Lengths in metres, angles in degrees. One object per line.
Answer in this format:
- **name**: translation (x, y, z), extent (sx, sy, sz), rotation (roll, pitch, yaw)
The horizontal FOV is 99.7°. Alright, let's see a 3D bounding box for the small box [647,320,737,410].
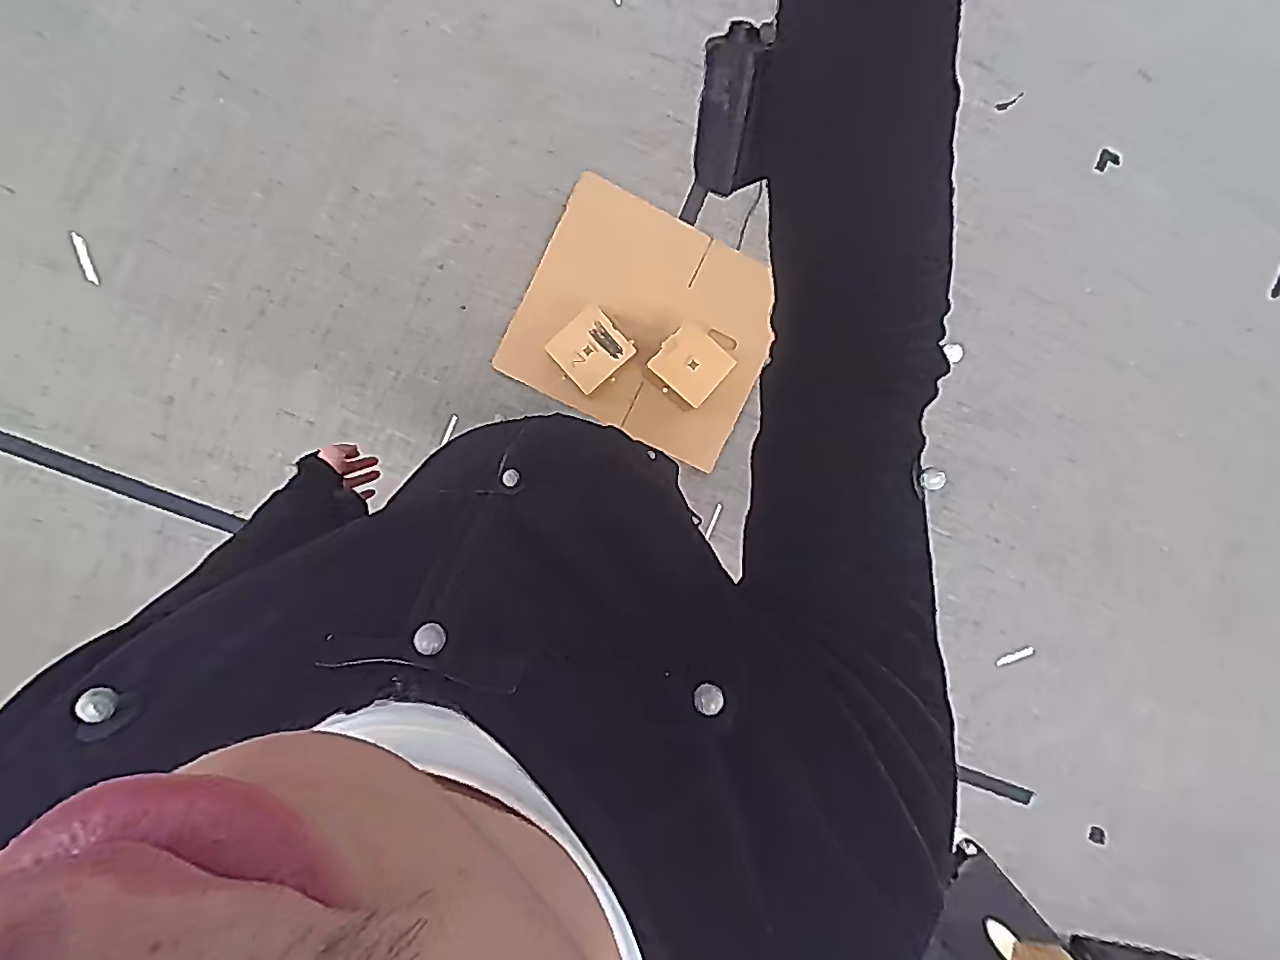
- **small box**: translation (0.136, -0.307, 1.485), extent (0.179, 0.176, 0.168), rotation (41, 91, -3)
